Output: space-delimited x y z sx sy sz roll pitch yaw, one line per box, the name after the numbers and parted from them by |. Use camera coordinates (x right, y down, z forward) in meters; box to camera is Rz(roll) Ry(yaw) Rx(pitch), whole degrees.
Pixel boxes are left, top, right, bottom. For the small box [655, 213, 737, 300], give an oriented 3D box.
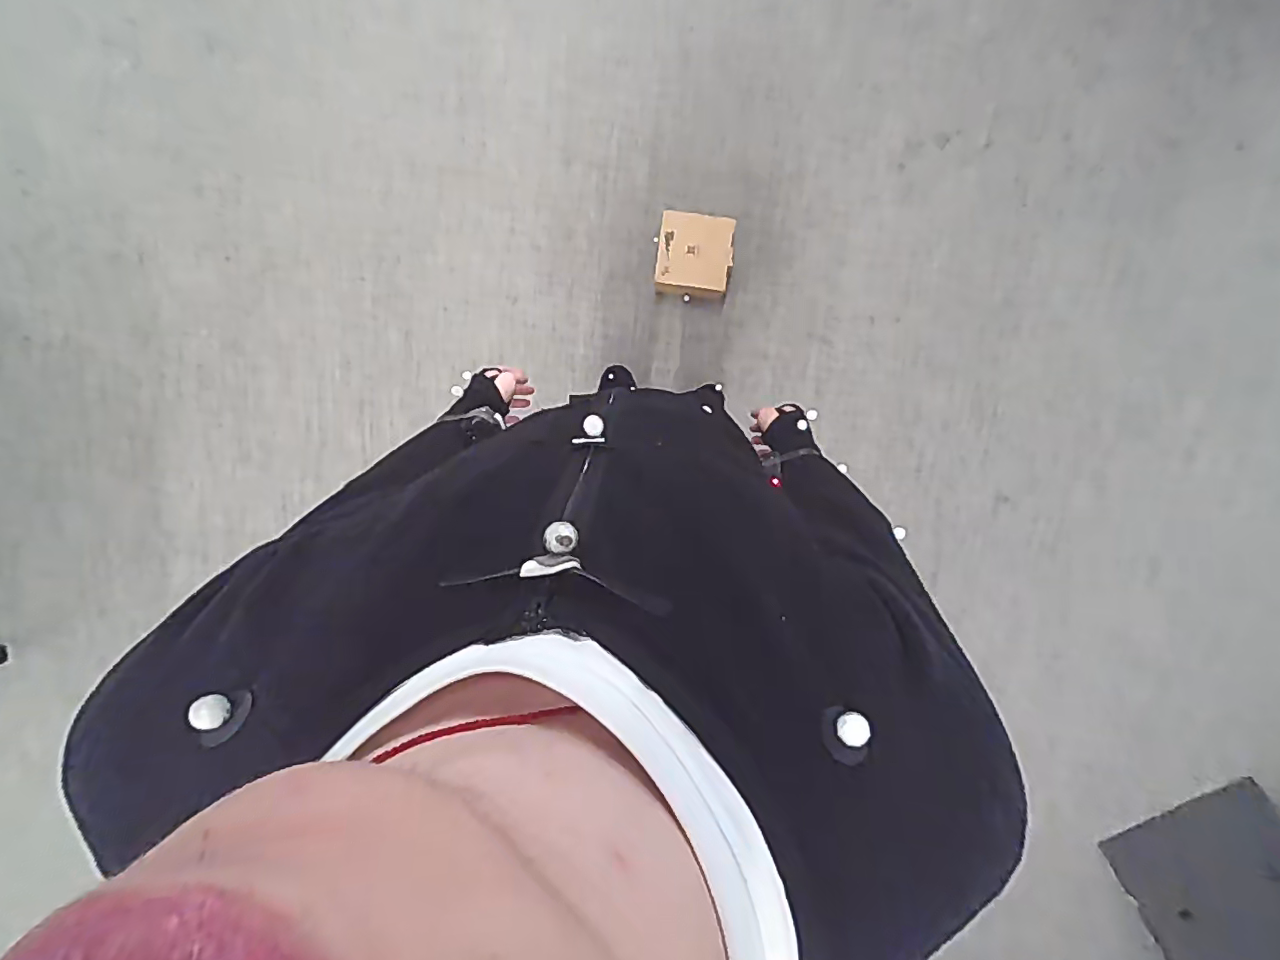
0.136 -0.560 1.375 0.179 0.176 0.168 8 101 0 | small box
